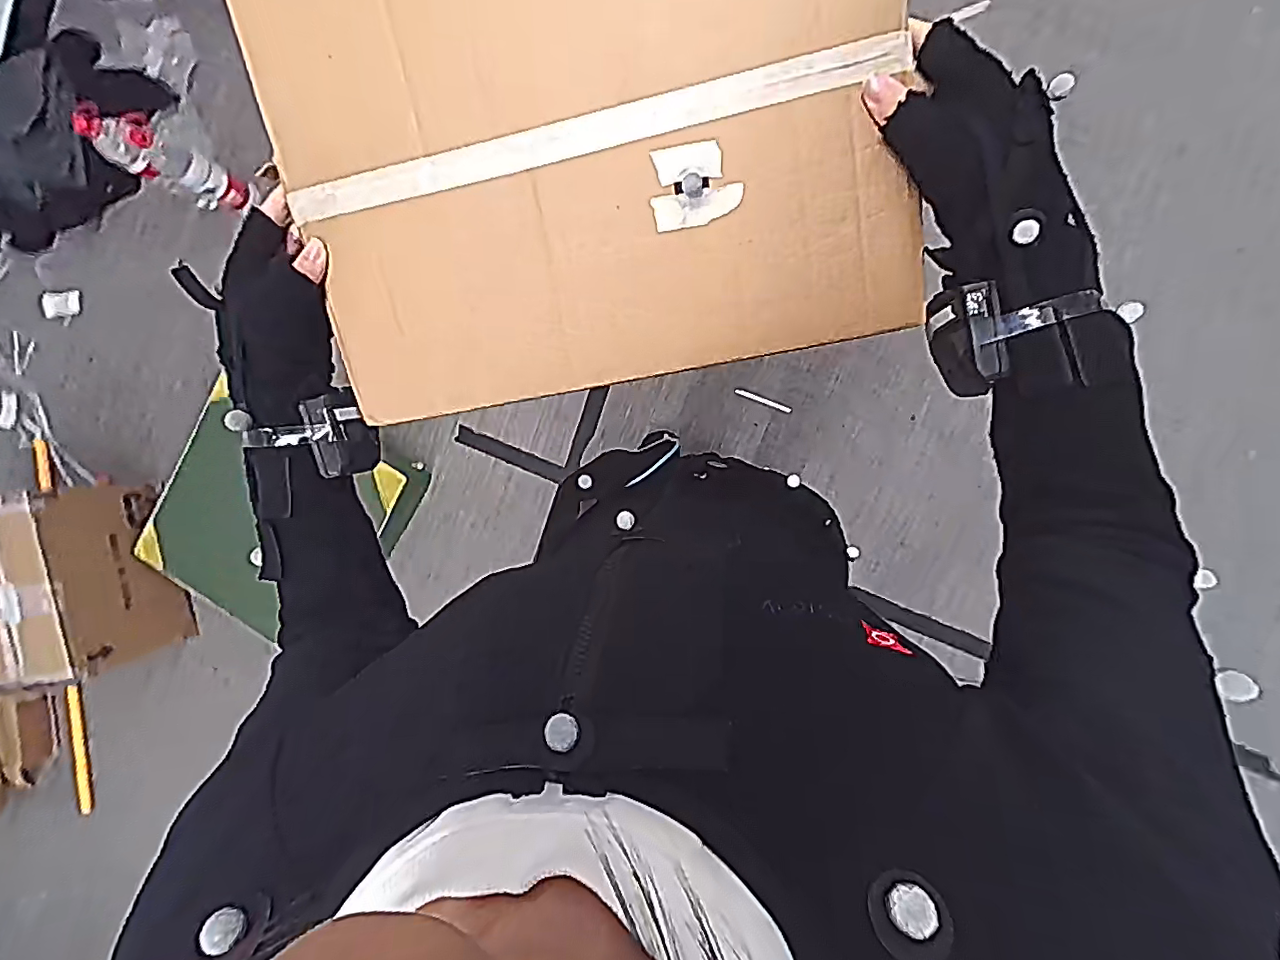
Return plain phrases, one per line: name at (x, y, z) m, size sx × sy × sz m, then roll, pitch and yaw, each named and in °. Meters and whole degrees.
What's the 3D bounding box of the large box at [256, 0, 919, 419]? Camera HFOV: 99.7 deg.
large box at (-0.021, -0.264, 0.501) m, size 0.408 × 0.320 × 0.320 m, roll -10°, pitch 105°, yaw 7°
